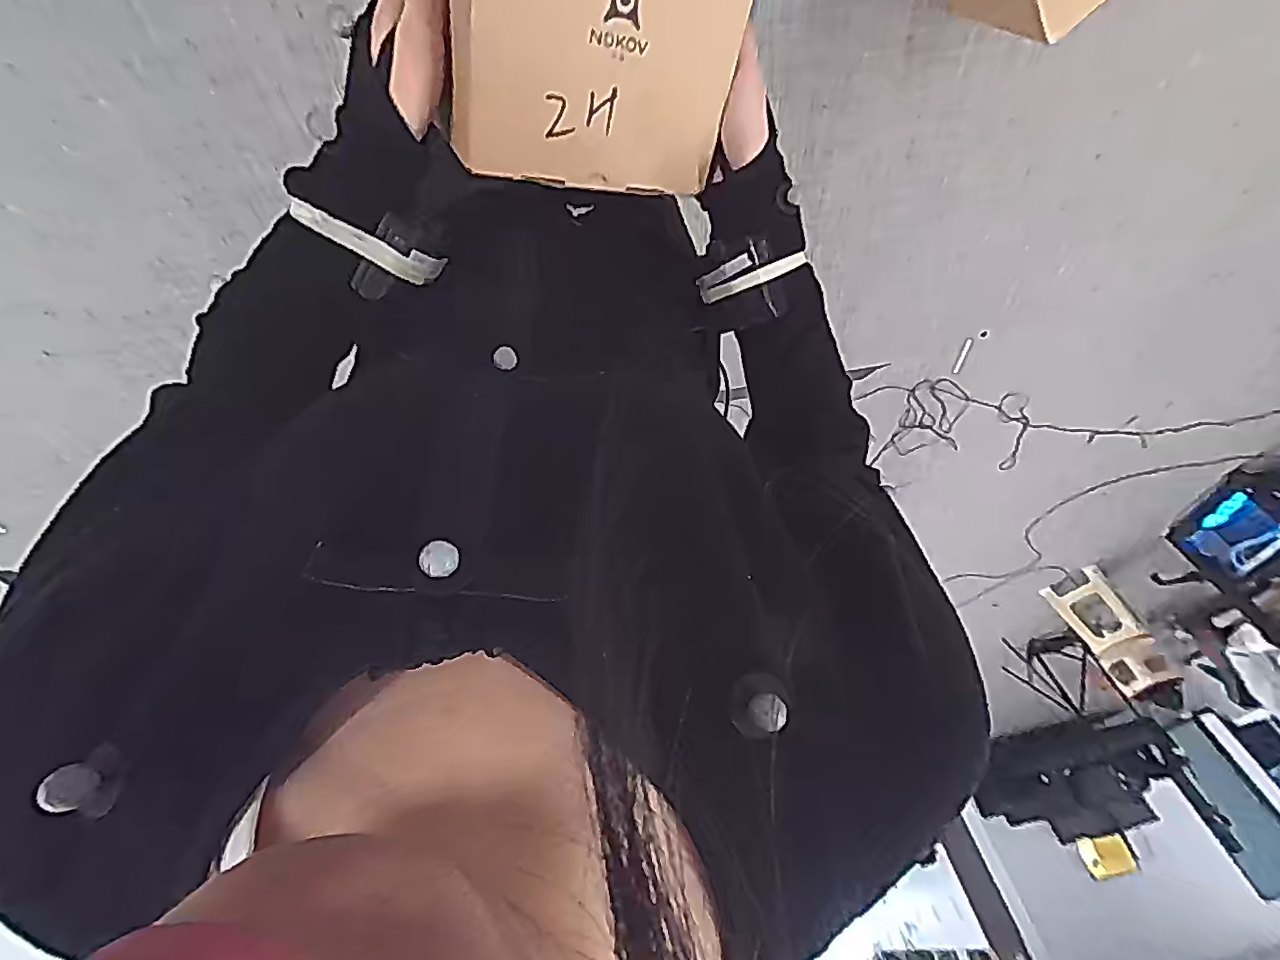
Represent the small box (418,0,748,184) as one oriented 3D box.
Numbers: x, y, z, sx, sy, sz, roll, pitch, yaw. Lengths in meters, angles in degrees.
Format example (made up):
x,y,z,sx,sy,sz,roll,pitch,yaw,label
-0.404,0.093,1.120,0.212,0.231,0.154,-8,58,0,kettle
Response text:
x,y,z,sx,sy,sz,roll,pitch,yaw,label
-0.045,-0.315,0.345,0.168,0.176,0.179,-8,135,-26,small box
